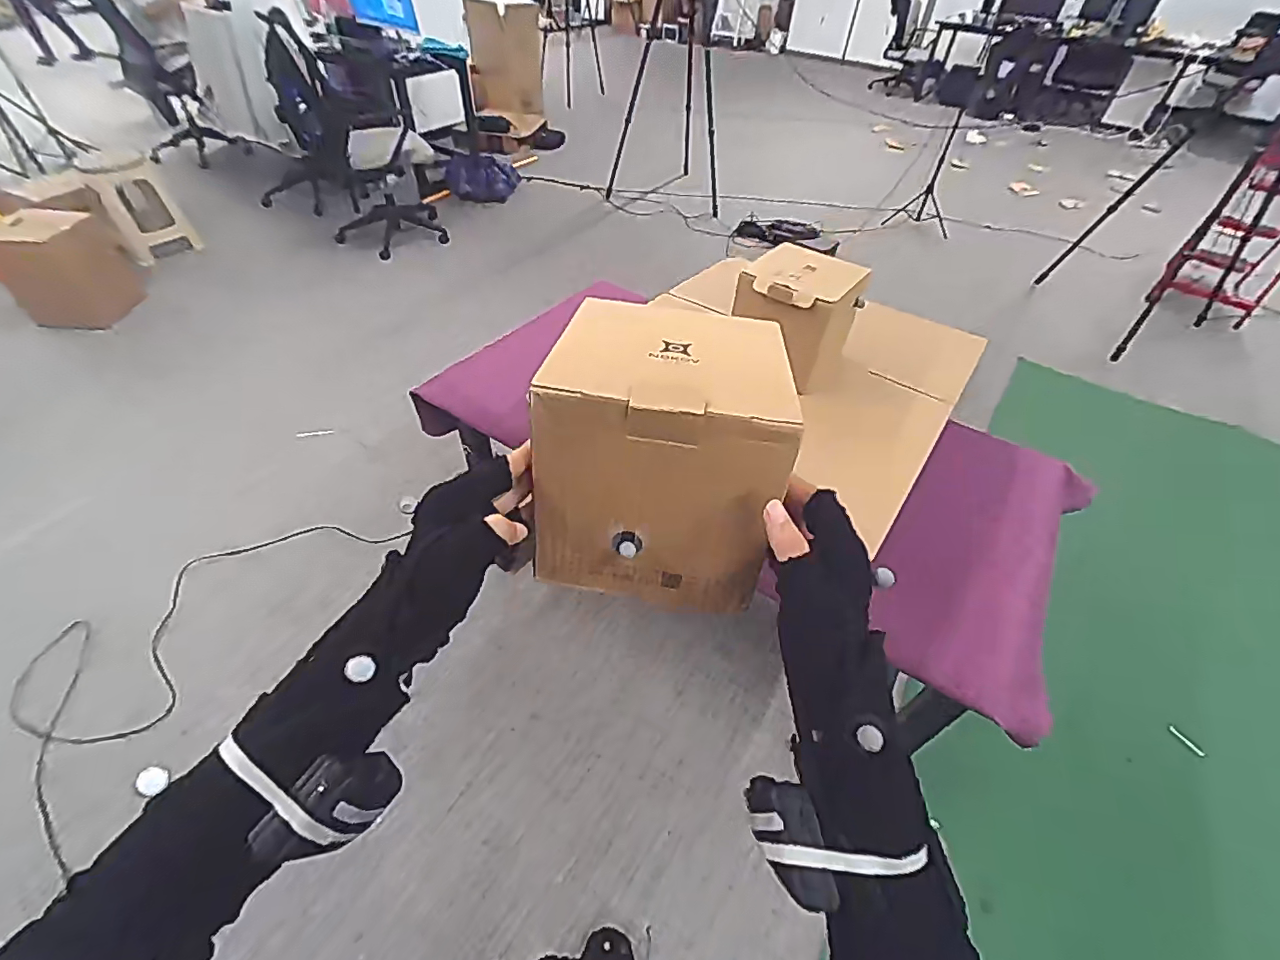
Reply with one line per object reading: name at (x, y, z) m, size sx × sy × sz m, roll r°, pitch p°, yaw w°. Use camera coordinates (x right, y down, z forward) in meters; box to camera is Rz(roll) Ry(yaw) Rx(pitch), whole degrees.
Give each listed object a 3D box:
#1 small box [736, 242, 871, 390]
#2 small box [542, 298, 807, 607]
small box at (0.274, -0.289, 0.955) m, size 0.168 × 0.176 × 0.179 m, roll 30°, pitch 51°, yaw 23°
small box at (0.021, -0.028, 0.436) m, size 0.168 × 0.176 × 0.179 m, roll 8°, pitch 36°, yaw 2°
